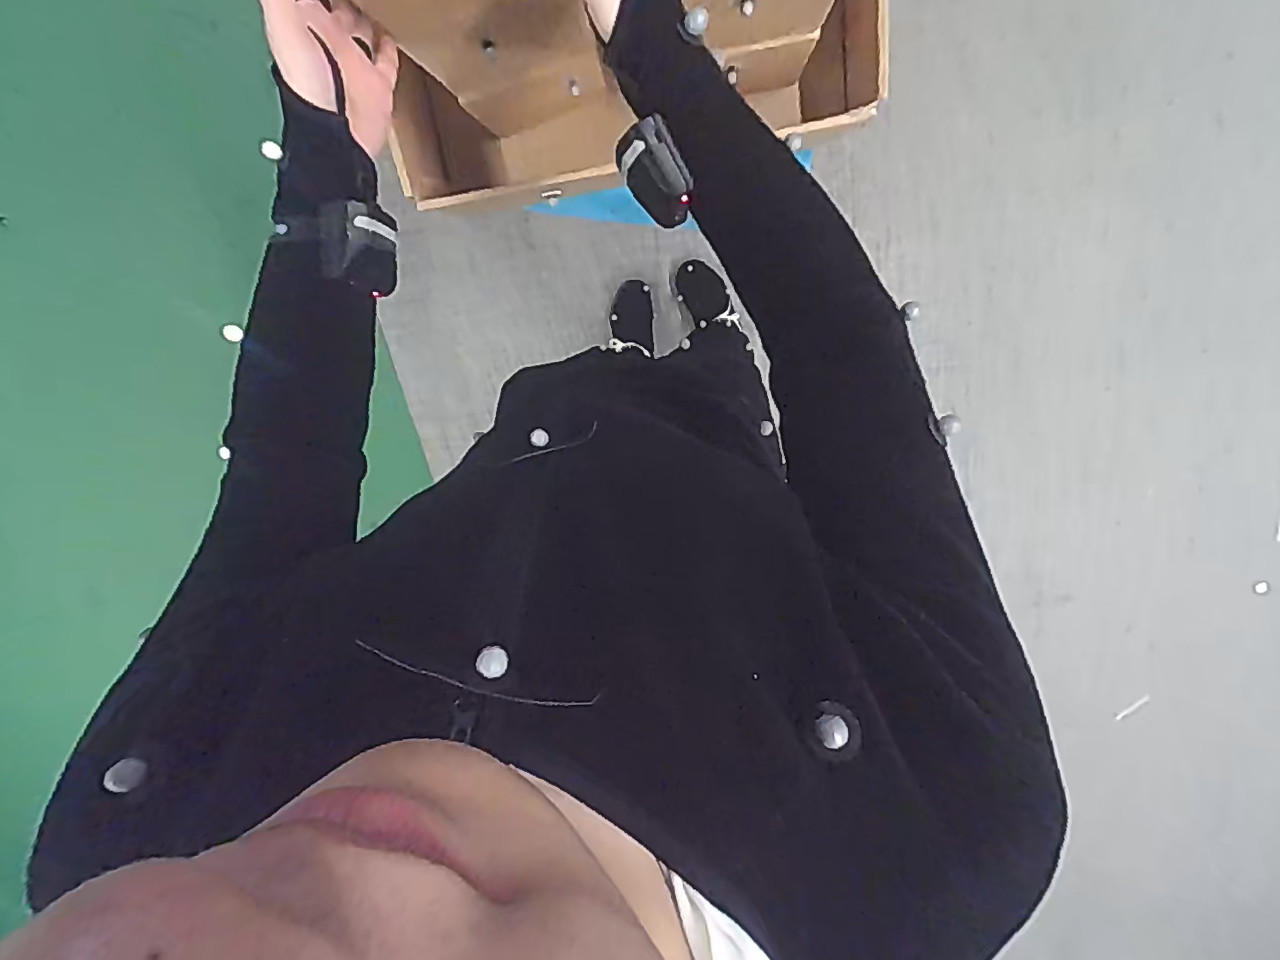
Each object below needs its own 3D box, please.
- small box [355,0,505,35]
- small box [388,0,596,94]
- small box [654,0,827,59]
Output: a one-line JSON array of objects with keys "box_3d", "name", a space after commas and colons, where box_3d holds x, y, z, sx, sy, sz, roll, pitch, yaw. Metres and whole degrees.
[{"box_3d": [-0.166, -0.459, 0.376, 0.179, 0.176, 0.168, -14, 109, 7], "name": "small box"}, {"box_3d": [-0.156, -0.515, 0.529, 0.179, 0.176, 0.168, -12, 110, 8], "name": "small box"}, {"box_3d": [0.091, -0.528, 0.502, 0.179, 0.176, 0.168, -6, 110, 8], "name": "small box"}]
